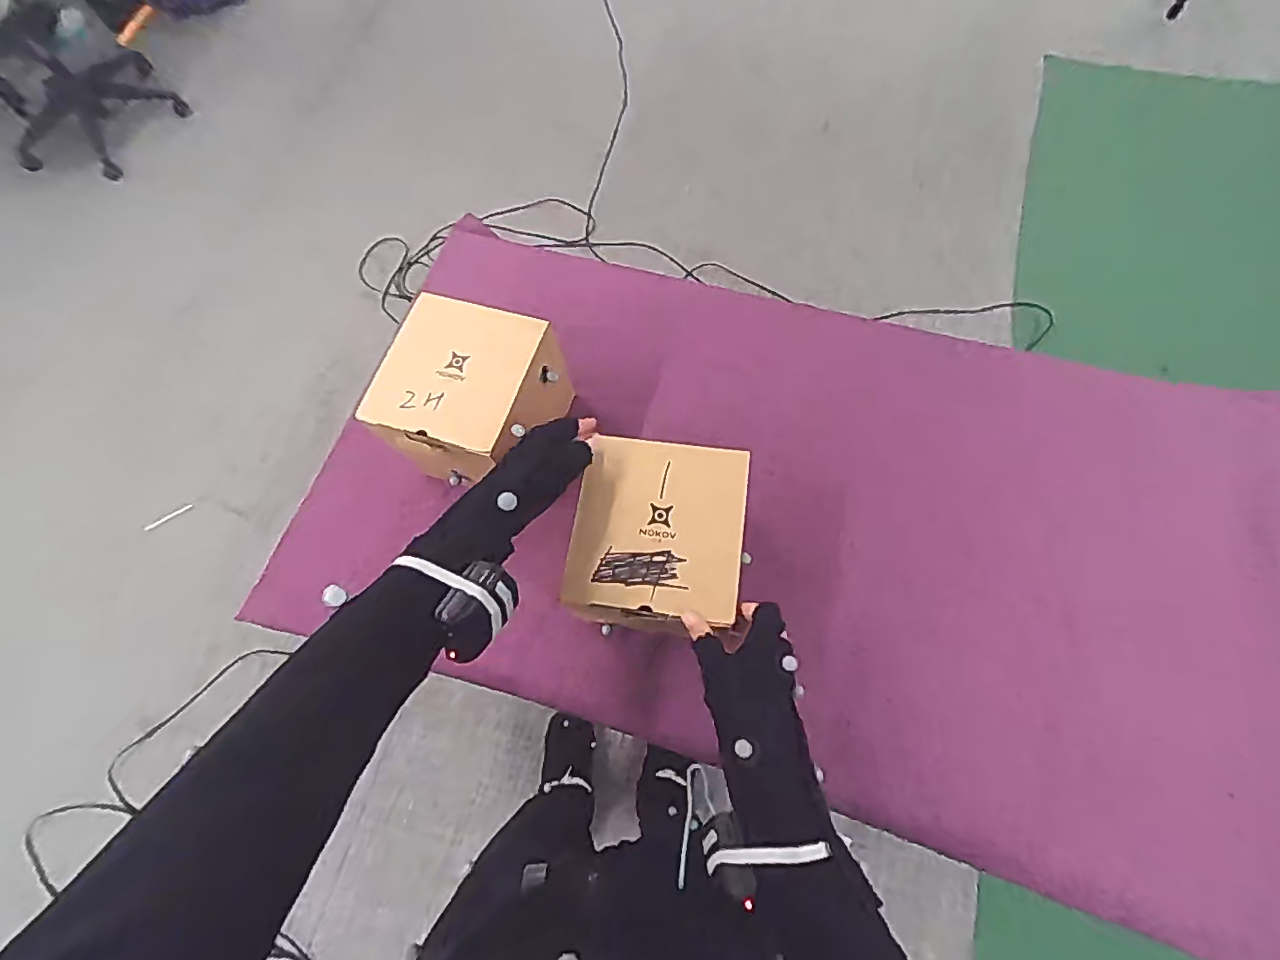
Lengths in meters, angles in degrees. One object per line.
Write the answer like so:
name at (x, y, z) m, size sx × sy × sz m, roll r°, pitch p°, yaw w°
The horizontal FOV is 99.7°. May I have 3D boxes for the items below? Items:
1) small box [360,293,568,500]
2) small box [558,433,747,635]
small box at (-0.200, -0.097, 0.679) m, size 0.168 × 0.176 × 0.179 m, roll 15°, pitch 72°, yaw 10°
small box at (0.021, 0.069, 0.601) m, size 0.168 × 0.176 × 0.179 m, roll 7°, pitch 69°, yaw 7°
